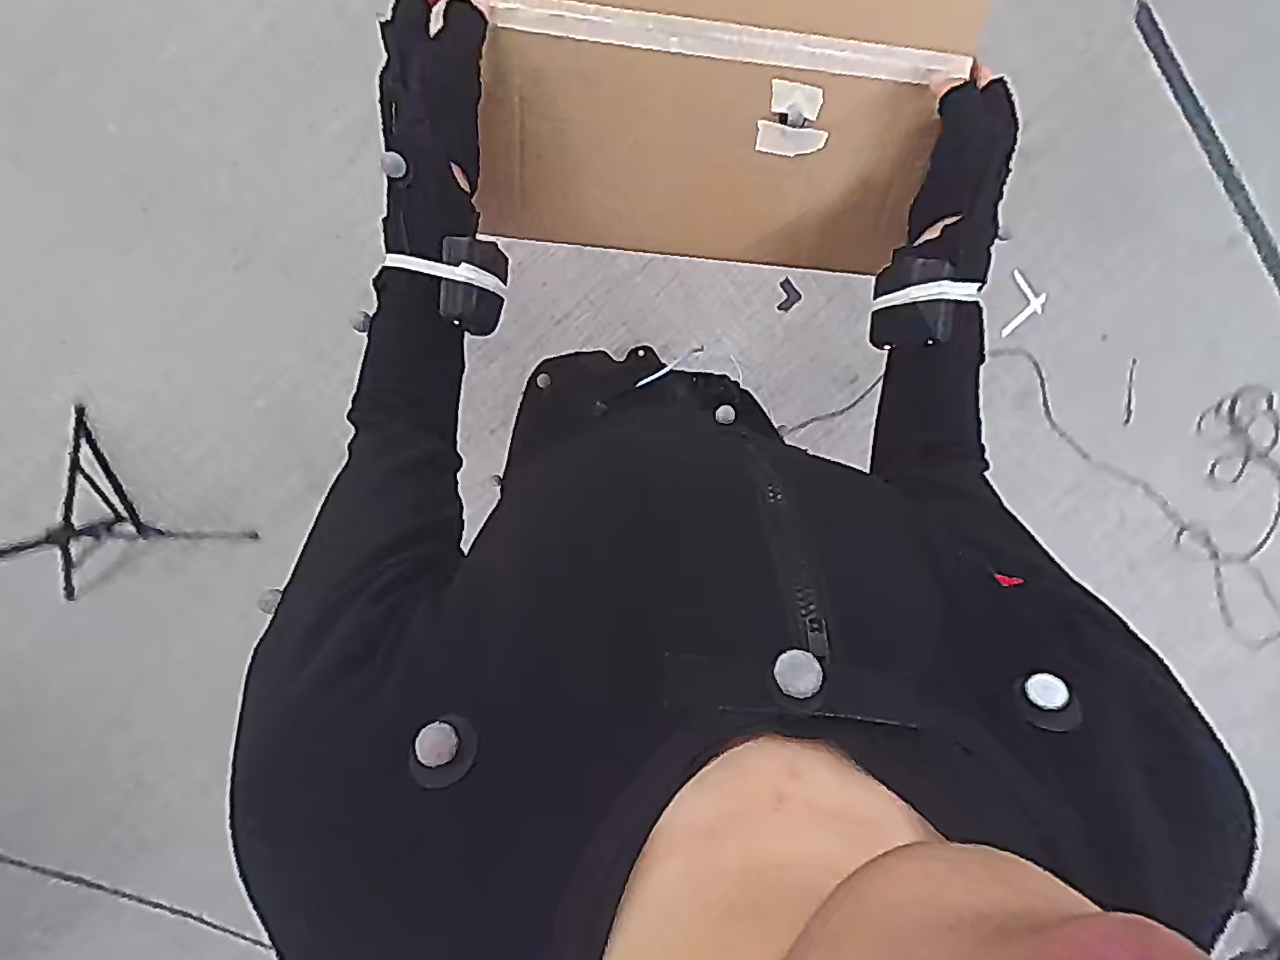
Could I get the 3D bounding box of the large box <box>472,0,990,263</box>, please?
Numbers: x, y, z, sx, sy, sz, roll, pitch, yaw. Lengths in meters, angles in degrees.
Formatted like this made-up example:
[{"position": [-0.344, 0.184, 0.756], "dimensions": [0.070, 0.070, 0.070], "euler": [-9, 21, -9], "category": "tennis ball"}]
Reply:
[{"position": [0.060, -0.429, 0.549], "dimensions": [0.408, 0.320, 0.320], "euler": [5, 122, -6], "category": "large box"}]
